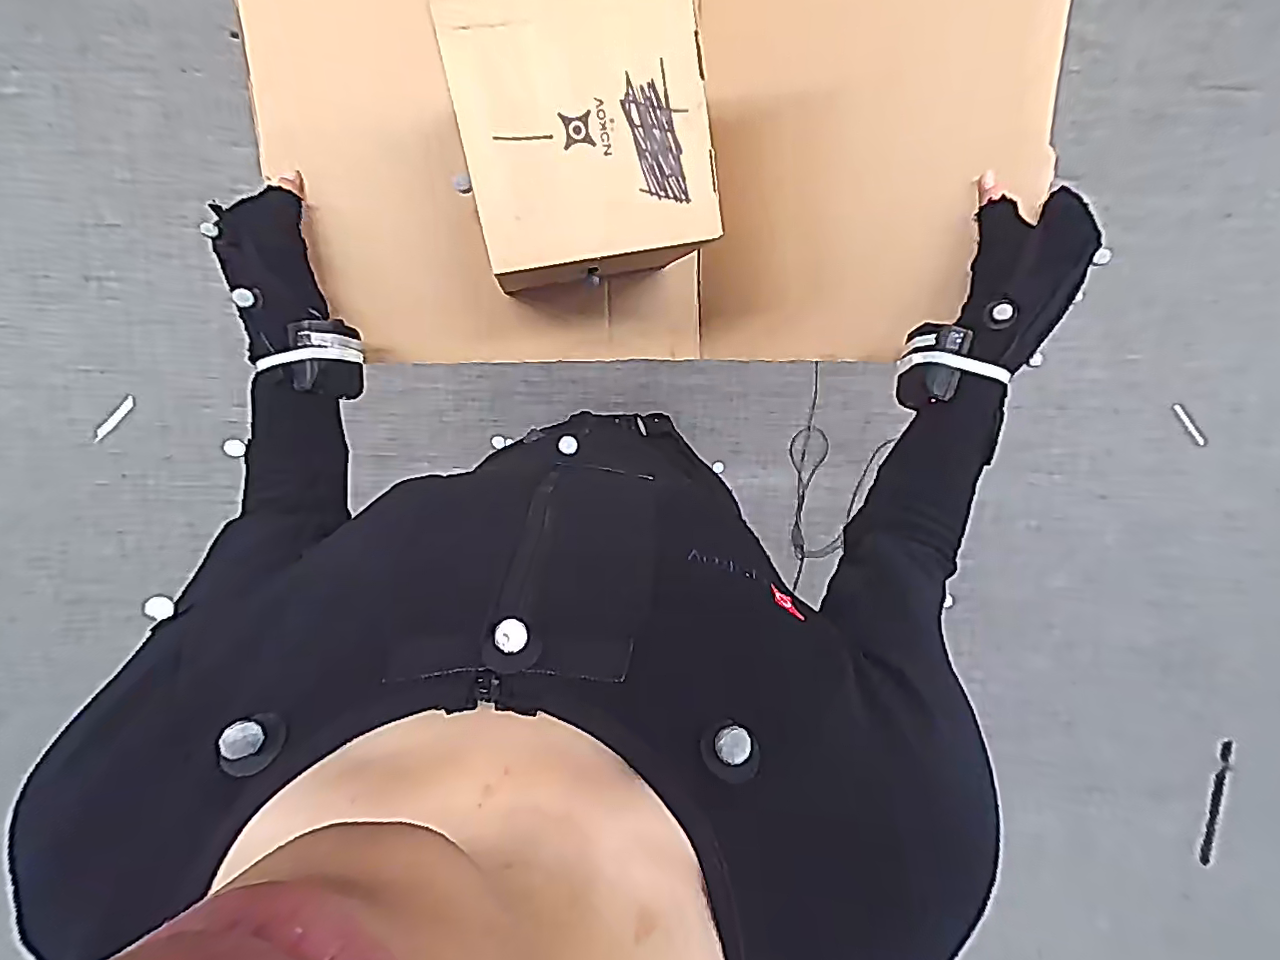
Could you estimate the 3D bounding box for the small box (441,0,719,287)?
[{"bbox_3d":[-0.050,-0.267,0.460,0.179,0.176,0.168,-12,107,-8],"label":"small box"}]
